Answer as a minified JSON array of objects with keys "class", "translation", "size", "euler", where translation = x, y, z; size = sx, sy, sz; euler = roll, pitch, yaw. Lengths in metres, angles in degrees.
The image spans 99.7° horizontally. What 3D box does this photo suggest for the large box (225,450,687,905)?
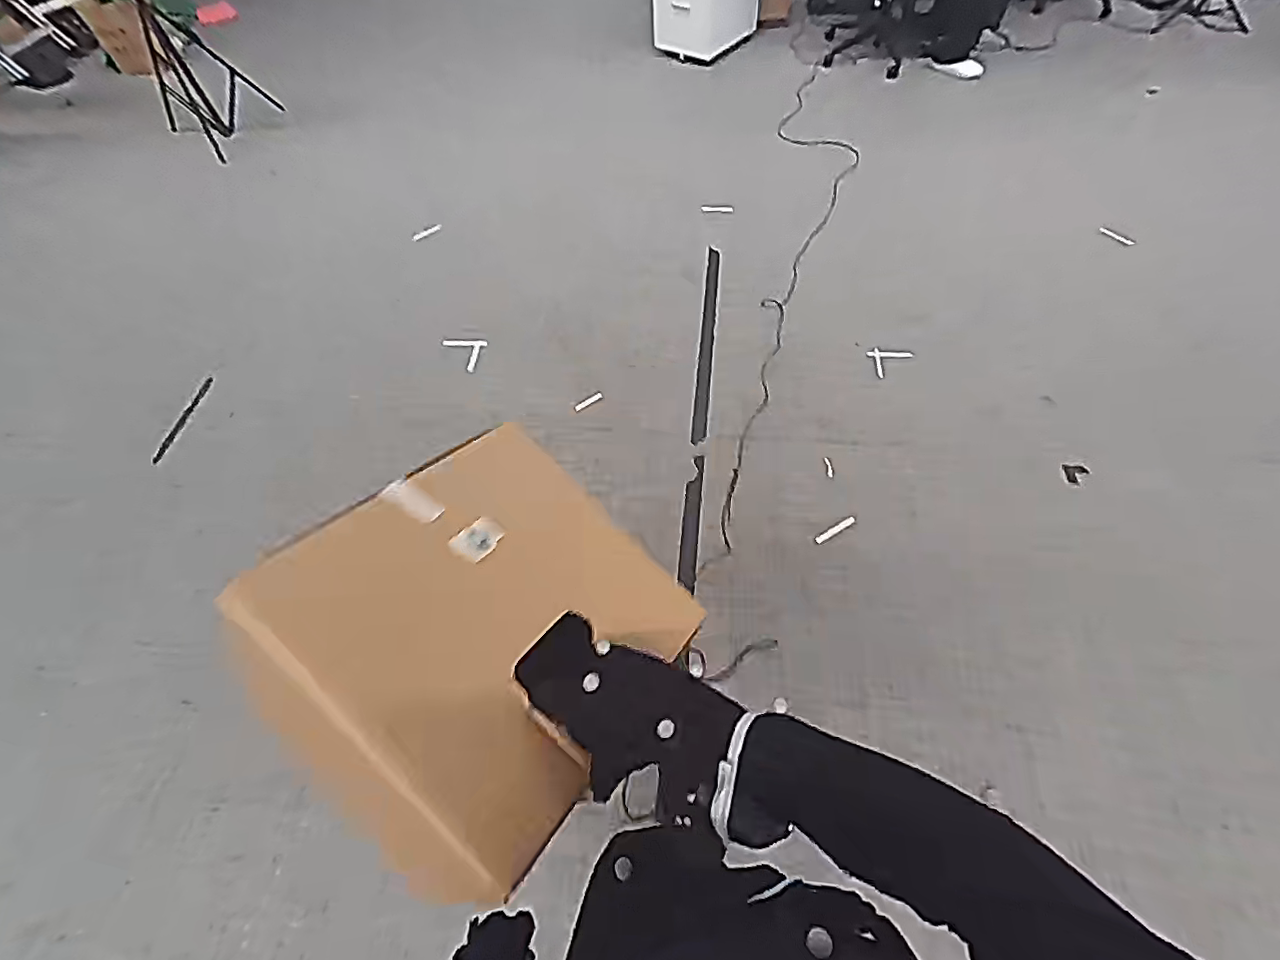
[{"class":"large box","translation":[-0.216,0.240,0.647],"size":[0.320,0.408,0.320],"euler":[42,45,5]}]
